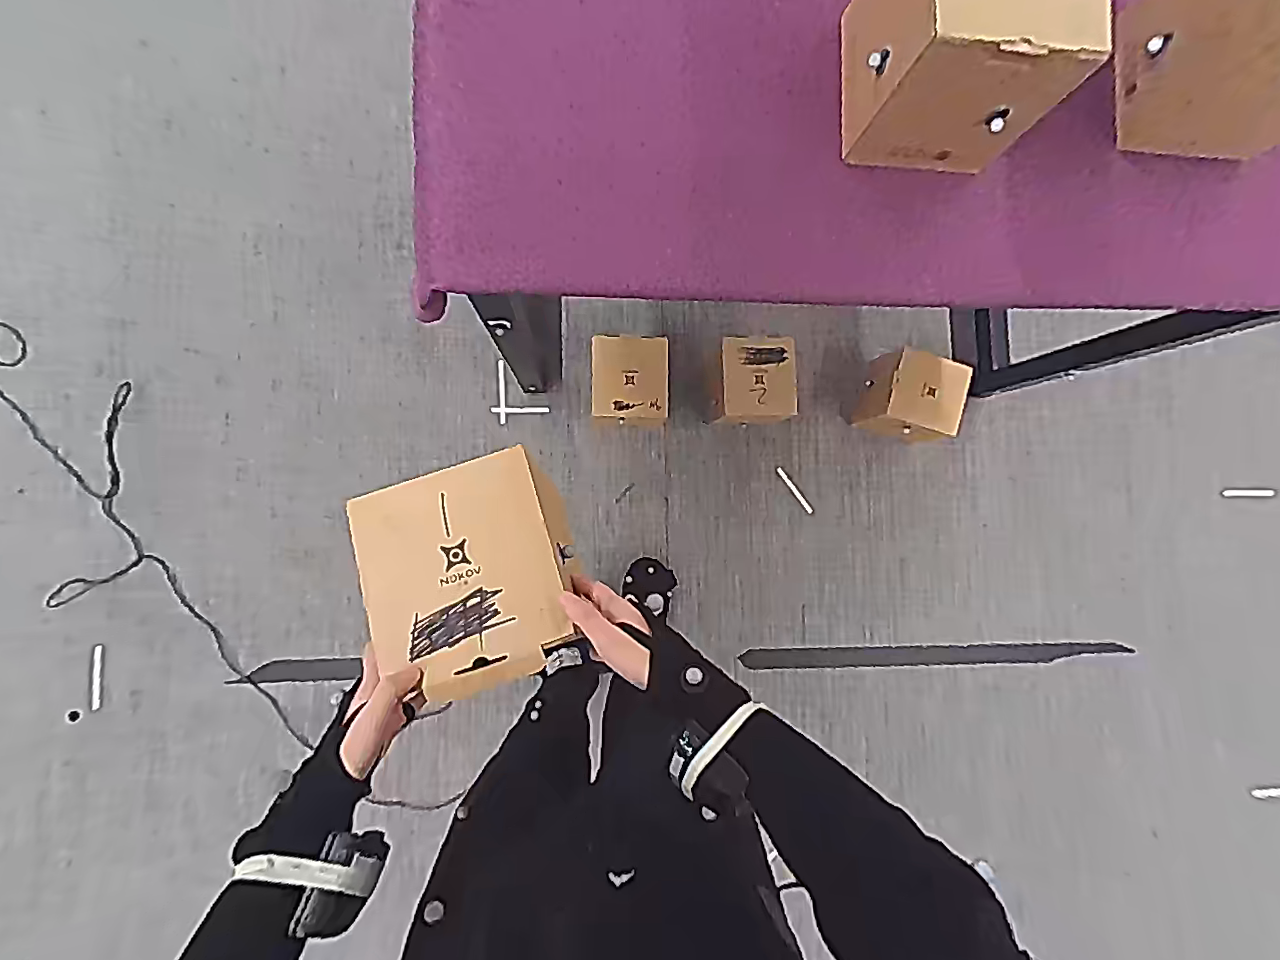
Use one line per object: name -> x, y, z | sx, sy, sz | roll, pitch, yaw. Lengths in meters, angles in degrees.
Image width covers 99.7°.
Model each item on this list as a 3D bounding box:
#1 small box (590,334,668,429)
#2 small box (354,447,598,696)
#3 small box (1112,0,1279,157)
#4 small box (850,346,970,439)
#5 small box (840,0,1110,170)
small box -> -0.030, -0.218, 1.233 | 0.168, 0.176, 0.179 | 1, 87, -6
small box -> -0.147, 0.091, 0.539 | 0.168, 0.176, 0.179 | -18, 76, -3
small box -> 0.662, -0.476, 0.576 | 0.179, 0.176, 0.168 | 1, 87, -5
small box -> 0.640, -0.200, 1.299 | 0.179, 0.176, 0.168 | 16, 87, -4
small box -> 0.316, -0.445, 0.543 | 0.168, 0.176, 0.179 | 1, 86, -7
